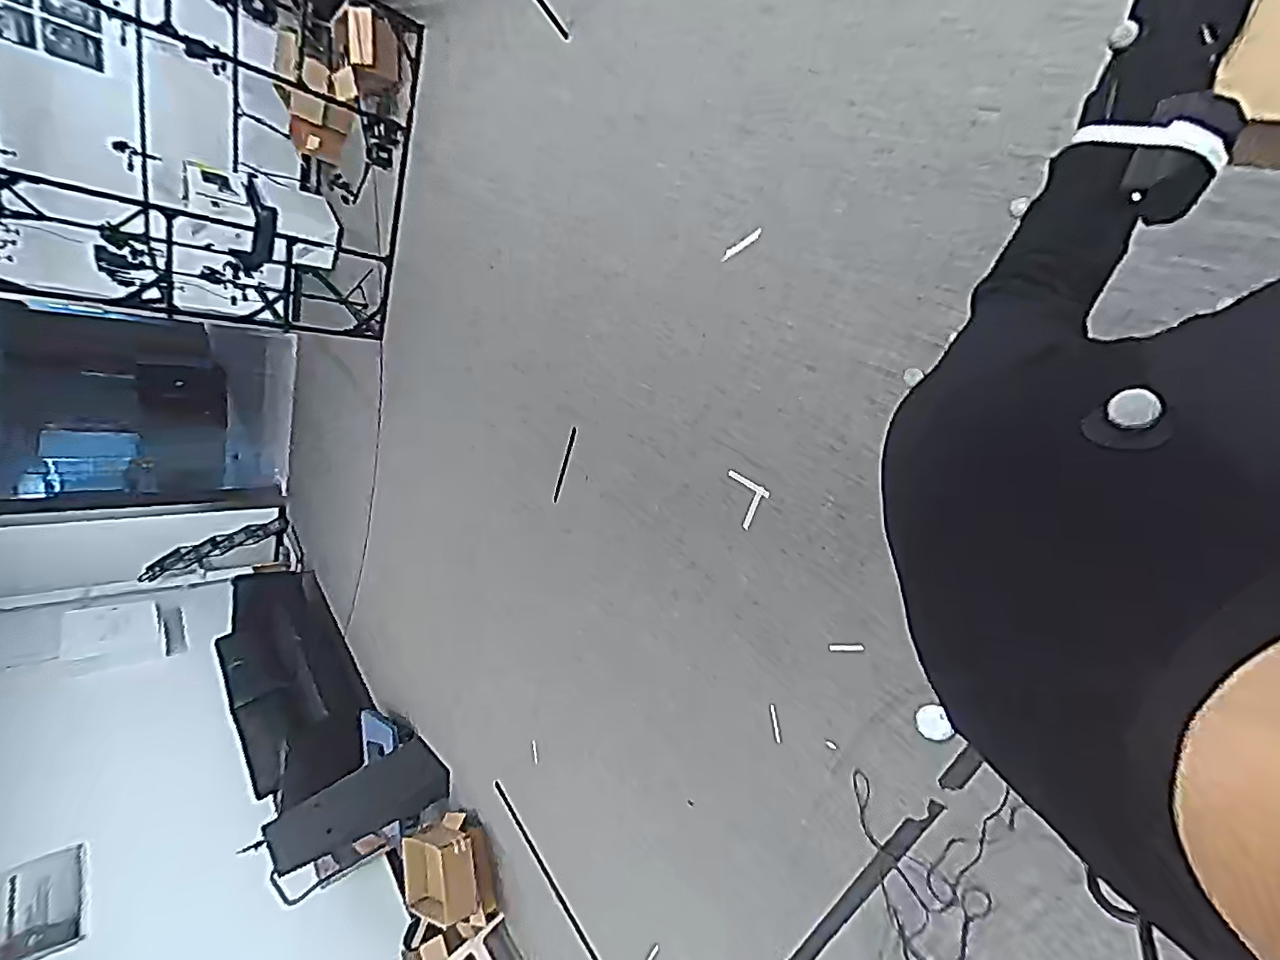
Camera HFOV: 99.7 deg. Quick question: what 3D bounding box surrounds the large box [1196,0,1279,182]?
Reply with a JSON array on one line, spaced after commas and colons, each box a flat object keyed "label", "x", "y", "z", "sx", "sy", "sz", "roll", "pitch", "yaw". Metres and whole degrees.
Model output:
[{"label": "large box", "x": 0.658, "y": -0.345, "z": 0.305, "sx": 0.408, "sy": 0.320, "sz": 0.320, "roll": 31, "pitch": 127, "yaw": 35}]
